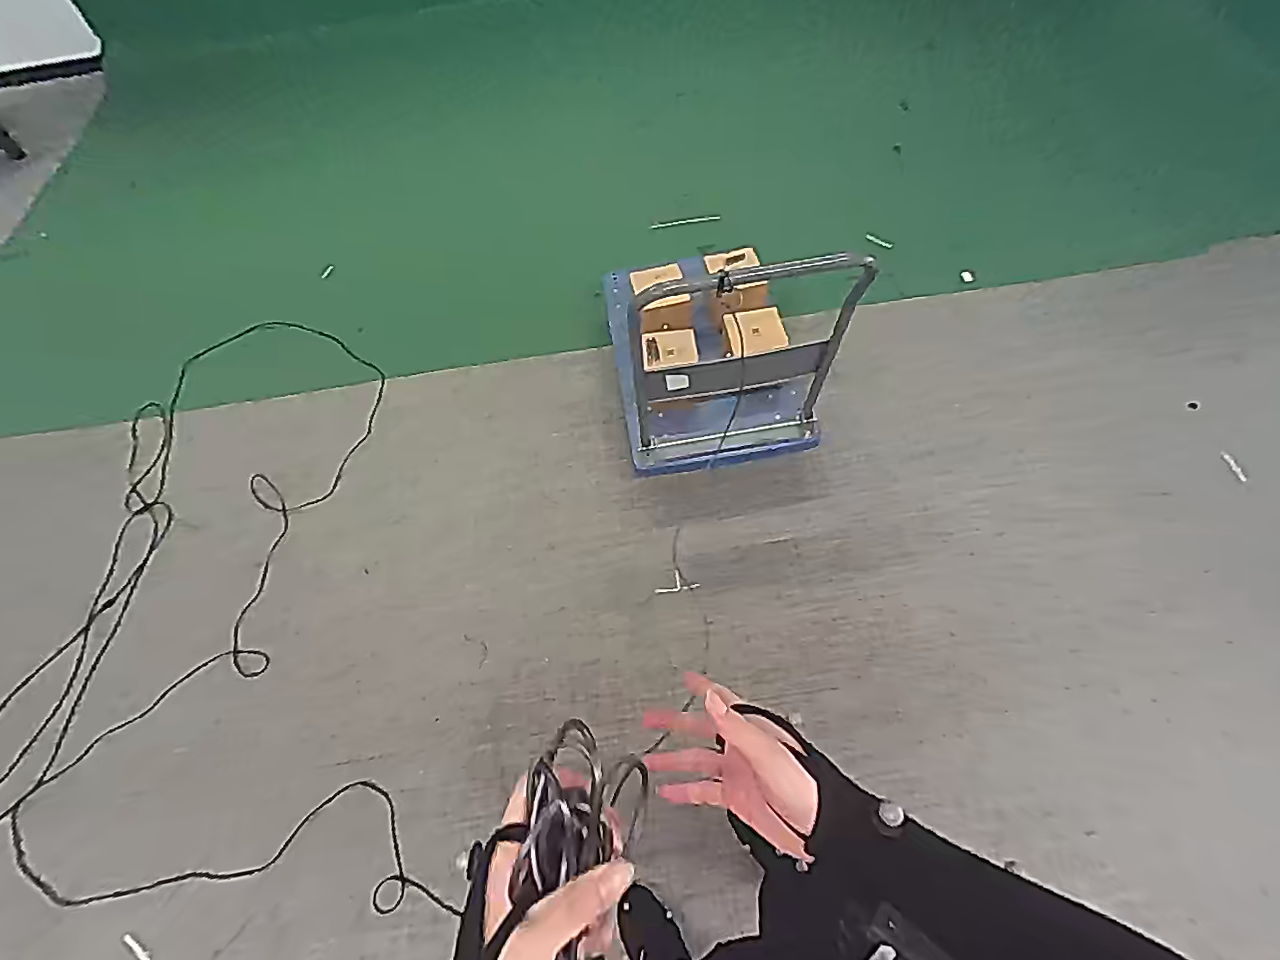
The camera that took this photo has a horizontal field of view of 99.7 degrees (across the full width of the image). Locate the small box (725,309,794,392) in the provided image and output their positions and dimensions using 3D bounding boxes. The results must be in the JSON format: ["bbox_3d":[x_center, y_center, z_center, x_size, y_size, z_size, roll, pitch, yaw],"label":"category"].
[{"bbox_3d":[0.365,-0.400,1.682,0.168,0.176,0.179,-8,62,1],"label":"small box"}]

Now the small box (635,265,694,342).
[{"bbox_3d":[0.083,-0.579,1.804,0.168,0.176,0.179,-12,61,-2],"label":"small box"}]

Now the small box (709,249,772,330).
[{"bbox_3d":[0.329,-0.634,1.811,0.168,0.176,0.179,-12,62,-1],"label":"small box"}]
